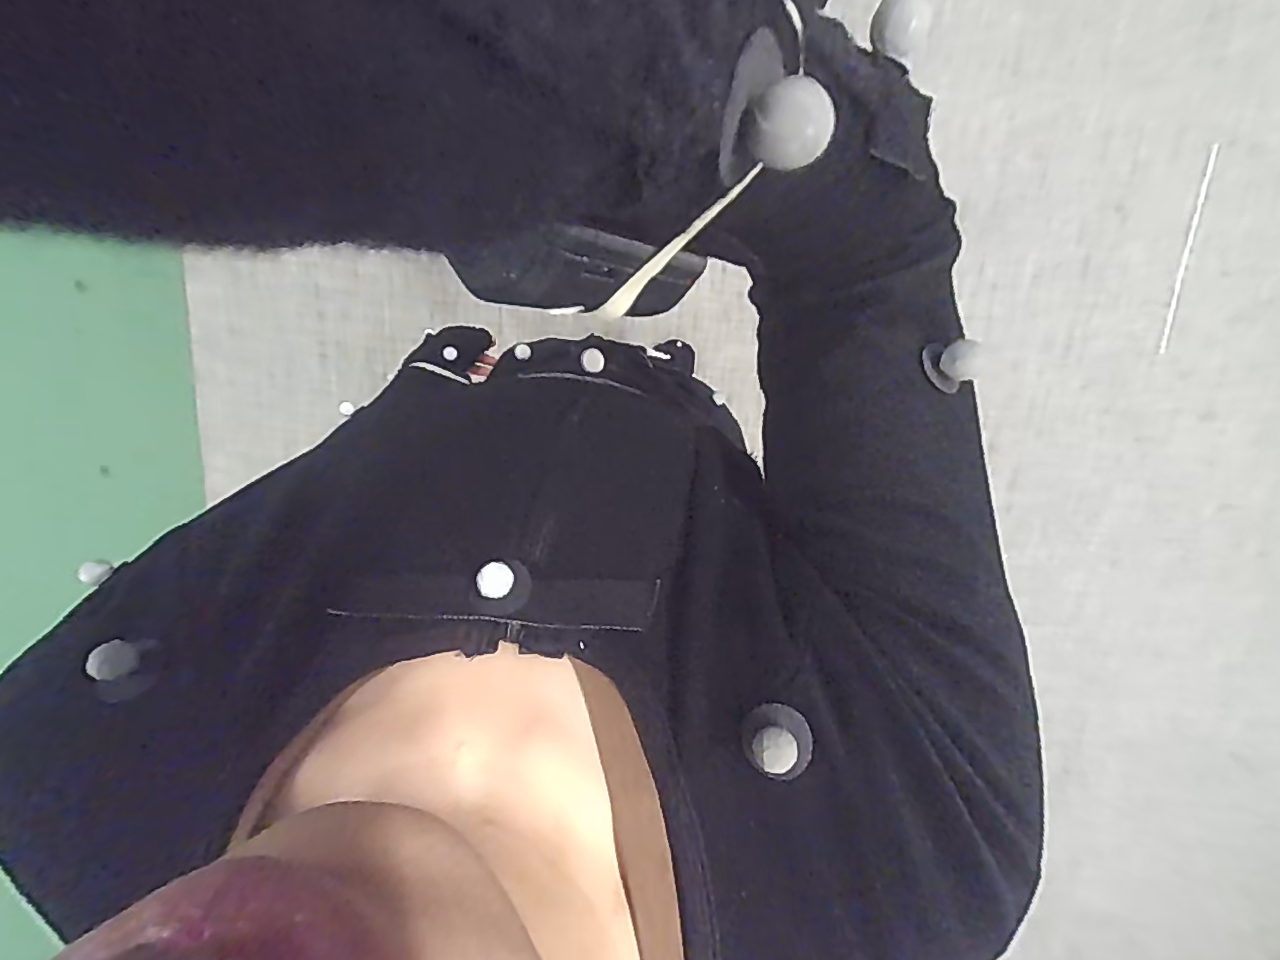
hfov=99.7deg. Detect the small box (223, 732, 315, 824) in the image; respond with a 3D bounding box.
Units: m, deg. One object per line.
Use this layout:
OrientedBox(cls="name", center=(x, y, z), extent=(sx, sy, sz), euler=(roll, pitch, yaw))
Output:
OrientedBox(cls="small box", center=(-1.108, 0.889, 1.625), extent=(0.168, 0.176, 0.179), euler=(6, 103, 0))
